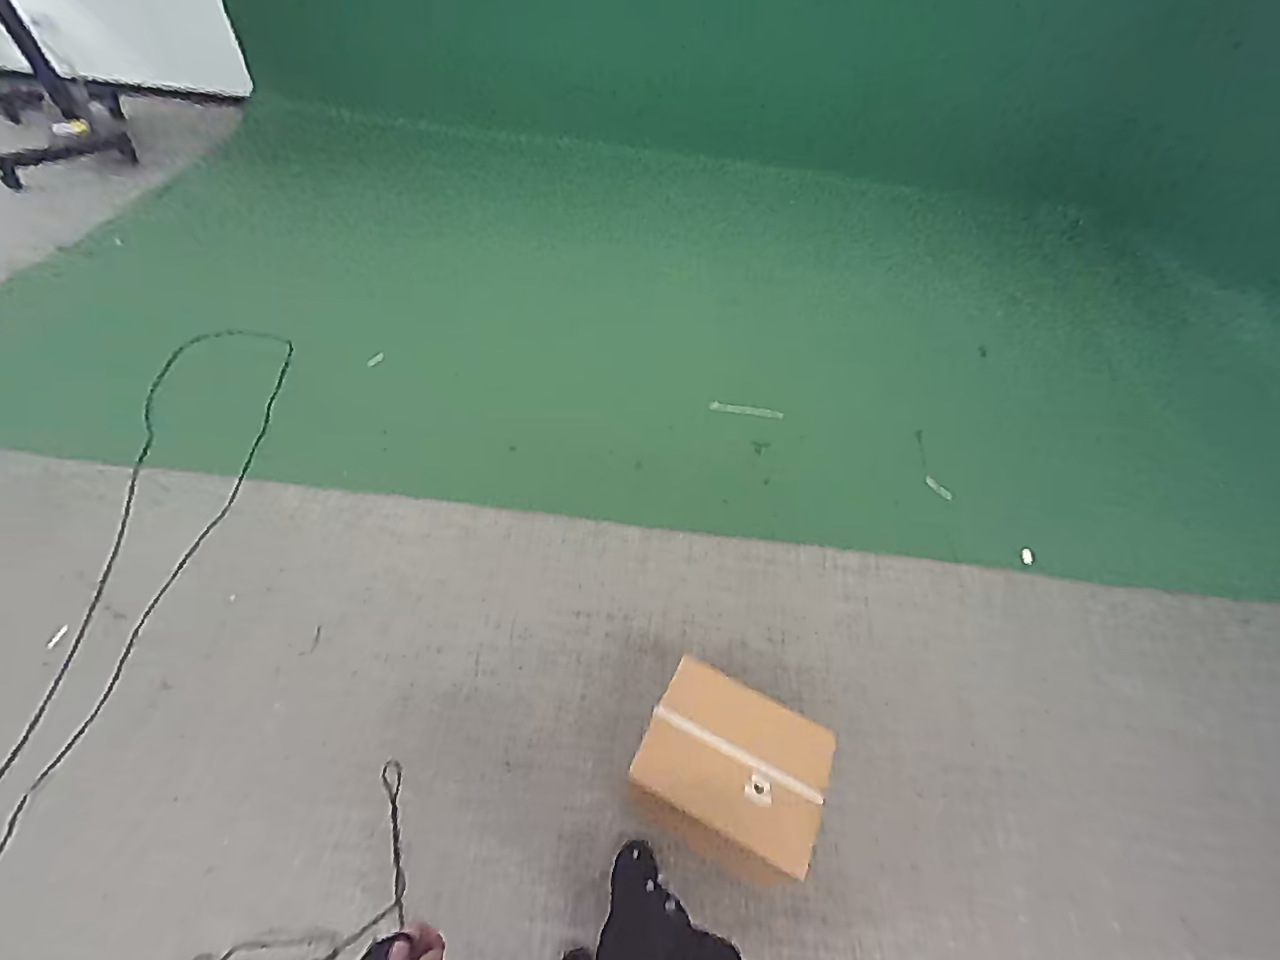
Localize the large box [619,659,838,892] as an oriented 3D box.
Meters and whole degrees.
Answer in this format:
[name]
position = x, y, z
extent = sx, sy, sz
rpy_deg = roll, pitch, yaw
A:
[large box]
position = 0.202, 0.717, 1.323
extent = 0.408, 0.320, 0.320
rpy_deg = 25, 51, 14
